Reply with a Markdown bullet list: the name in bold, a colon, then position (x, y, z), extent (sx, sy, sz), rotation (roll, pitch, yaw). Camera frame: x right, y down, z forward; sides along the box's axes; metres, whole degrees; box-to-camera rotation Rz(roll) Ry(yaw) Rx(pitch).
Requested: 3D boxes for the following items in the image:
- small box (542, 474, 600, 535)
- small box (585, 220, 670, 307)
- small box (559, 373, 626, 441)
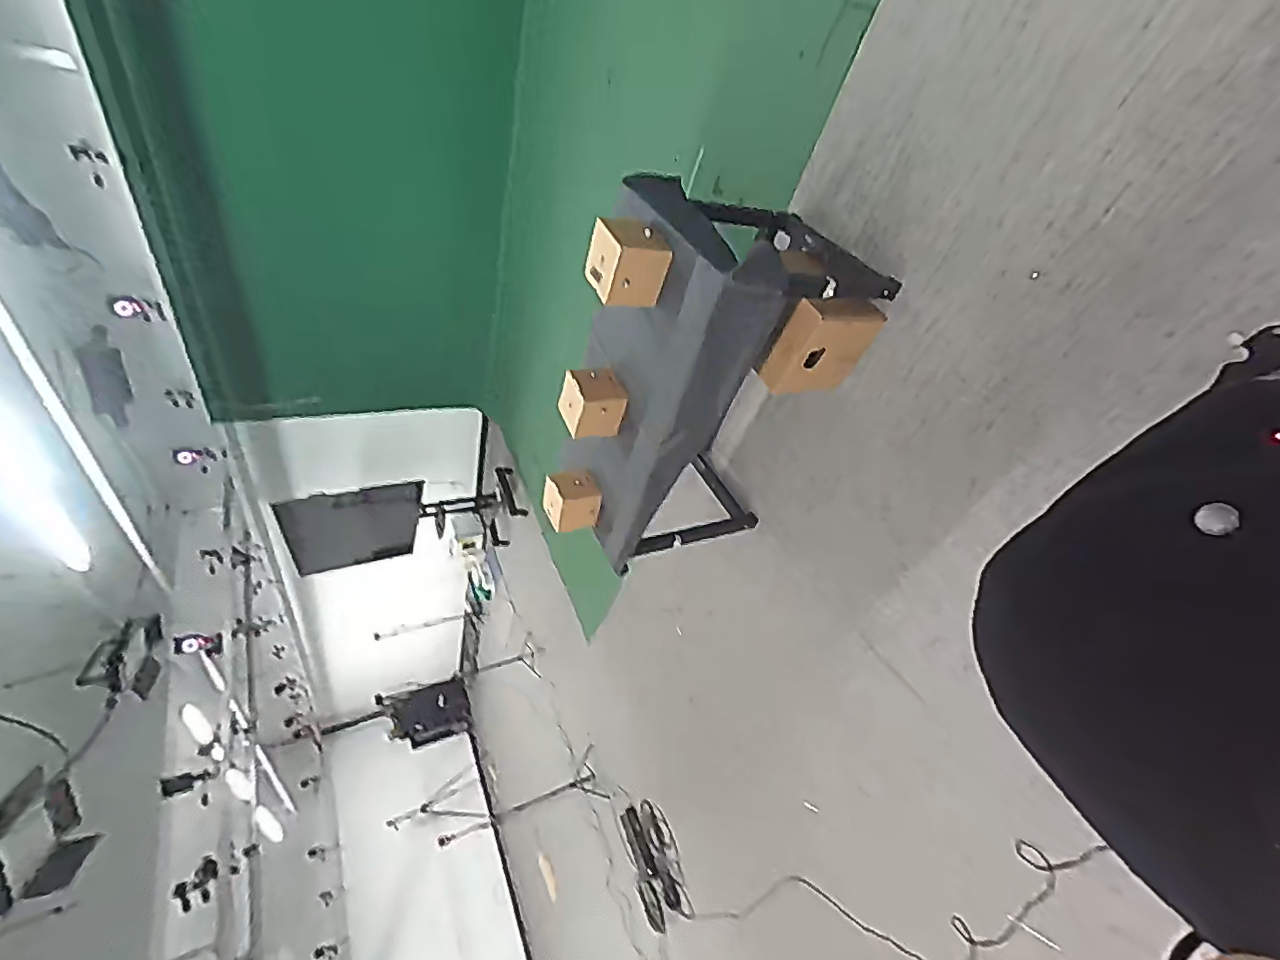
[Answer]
- **small box**: position (-0.273, 0.091, 2.159), extent (0.168, 0.176, 0.179), rotation (55, 140, 39)
- **small box**: position (-0.036, -0.611, 1.544), extent (0.168, 0.176, 0.179), rotation (61, 145, 31)
- **small box**: position (-0.164, -0.258, 1.877), extent (0.168, 0.176, 0.179), rotation (62, 147, 33)
